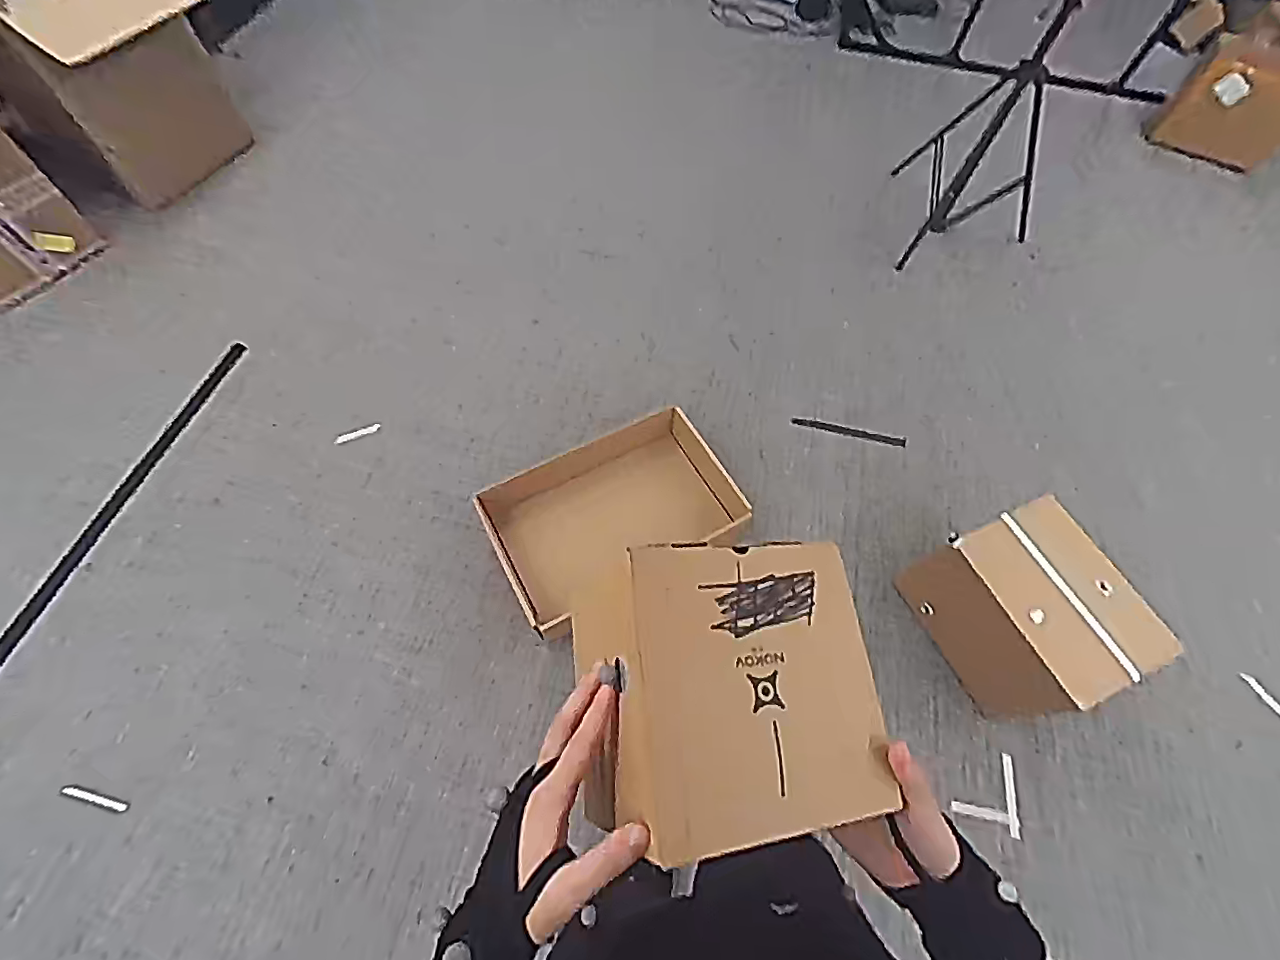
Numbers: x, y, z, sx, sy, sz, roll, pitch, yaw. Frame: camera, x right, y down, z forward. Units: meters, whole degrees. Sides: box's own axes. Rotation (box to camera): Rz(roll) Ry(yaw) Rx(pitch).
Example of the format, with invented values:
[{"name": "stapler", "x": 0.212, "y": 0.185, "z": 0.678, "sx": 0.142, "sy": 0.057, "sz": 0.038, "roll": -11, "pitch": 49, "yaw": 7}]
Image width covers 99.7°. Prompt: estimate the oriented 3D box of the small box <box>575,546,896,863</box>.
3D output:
[{"name": "small box", "x": 0.050, "y": 0.158, "z": 0.414, "sx": 0.168, "sy": 0.176, "sz": 0.179, "roll": 1, "pitch": 68, "yaw": -20}]
